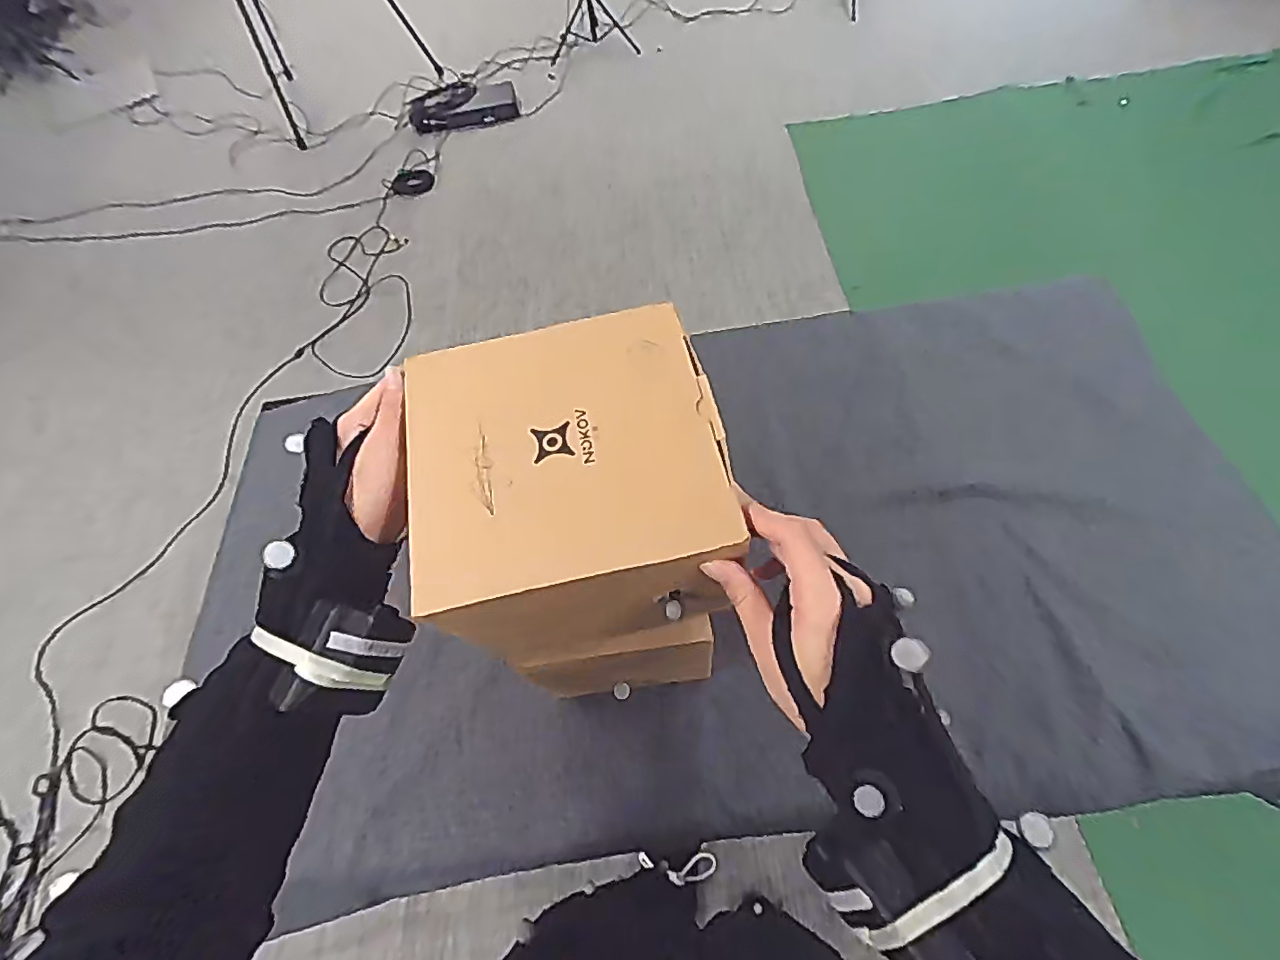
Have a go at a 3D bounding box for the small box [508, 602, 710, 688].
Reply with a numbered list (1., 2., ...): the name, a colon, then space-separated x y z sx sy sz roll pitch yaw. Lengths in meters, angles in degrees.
1. small box: -0.026 0.097 0.543 0.168 0.176 0.179 -8 61 2

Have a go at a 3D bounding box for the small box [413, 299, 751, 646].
1. small box: -0.036 0.008 0.382 0.179 0.176 0.168 -14 64 0
